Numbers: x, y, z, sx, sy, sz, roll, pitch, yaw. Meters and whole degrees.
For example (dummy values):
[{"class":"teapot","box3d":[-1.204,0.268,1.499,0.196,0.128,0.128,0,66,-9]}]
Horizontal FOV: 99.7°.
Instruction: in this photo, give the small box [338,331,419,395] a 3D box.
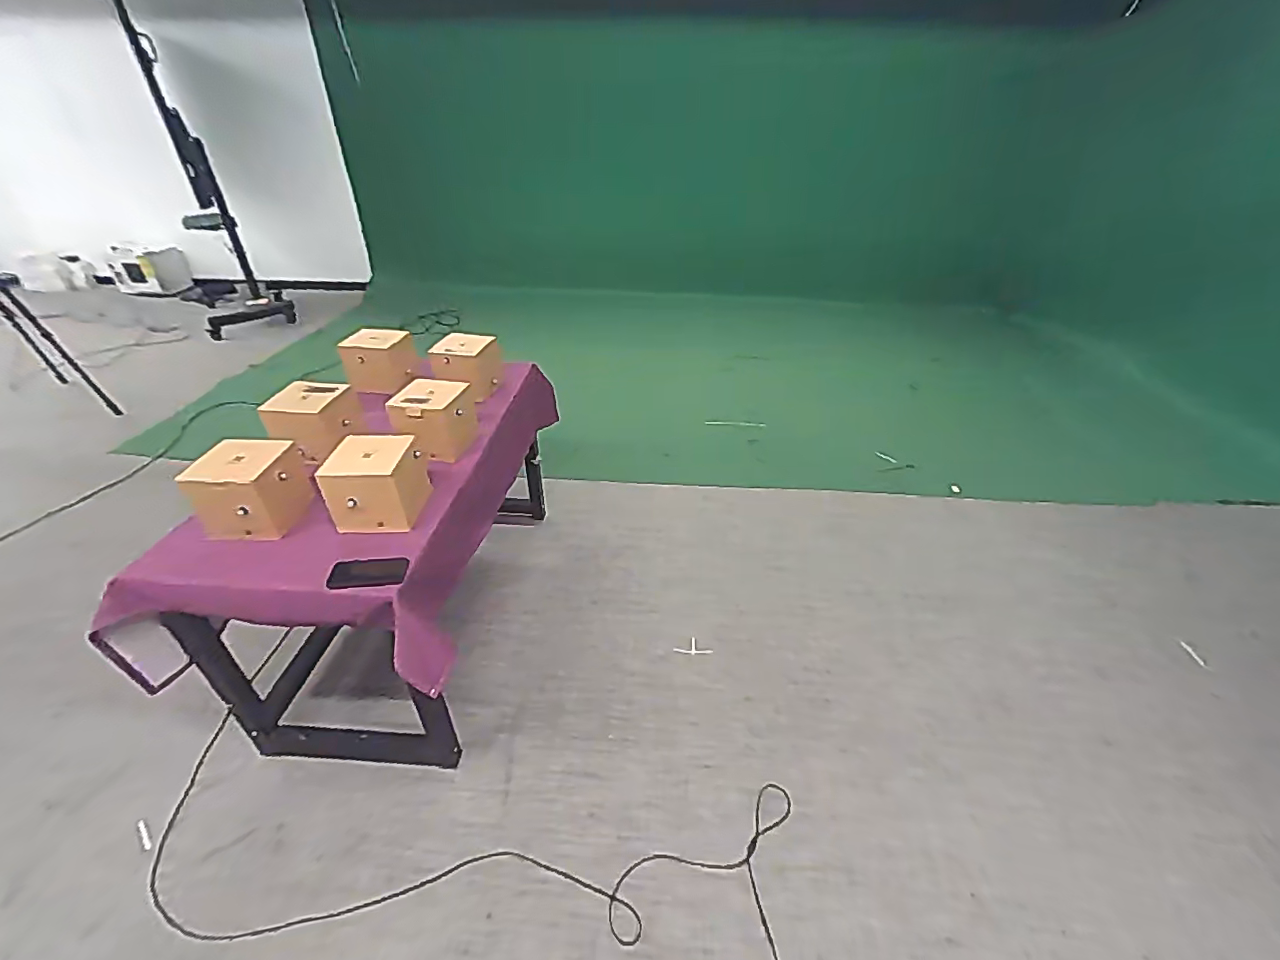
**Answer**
[{"class":"small box","box3d":[-0.895,-0.404,1.866,0.179,0.176,0.168,6,36,6]}]

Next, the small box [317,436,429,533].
[{"class":"small box","box3d":[-0.616,0.012,1.276,0.168,0.176,0.179,-1,33,-2]}]

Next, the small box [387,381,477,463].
[{"class":"small box","box3d":[-0.578,-0.165,1.532,0.168,0.176,0.179,7,34,8]}]

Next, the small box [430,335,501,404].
[{"class":"small box","box3d":[-0.584,-0.377,1.837,0.168,0.176,0.179,7,35,9]}]
